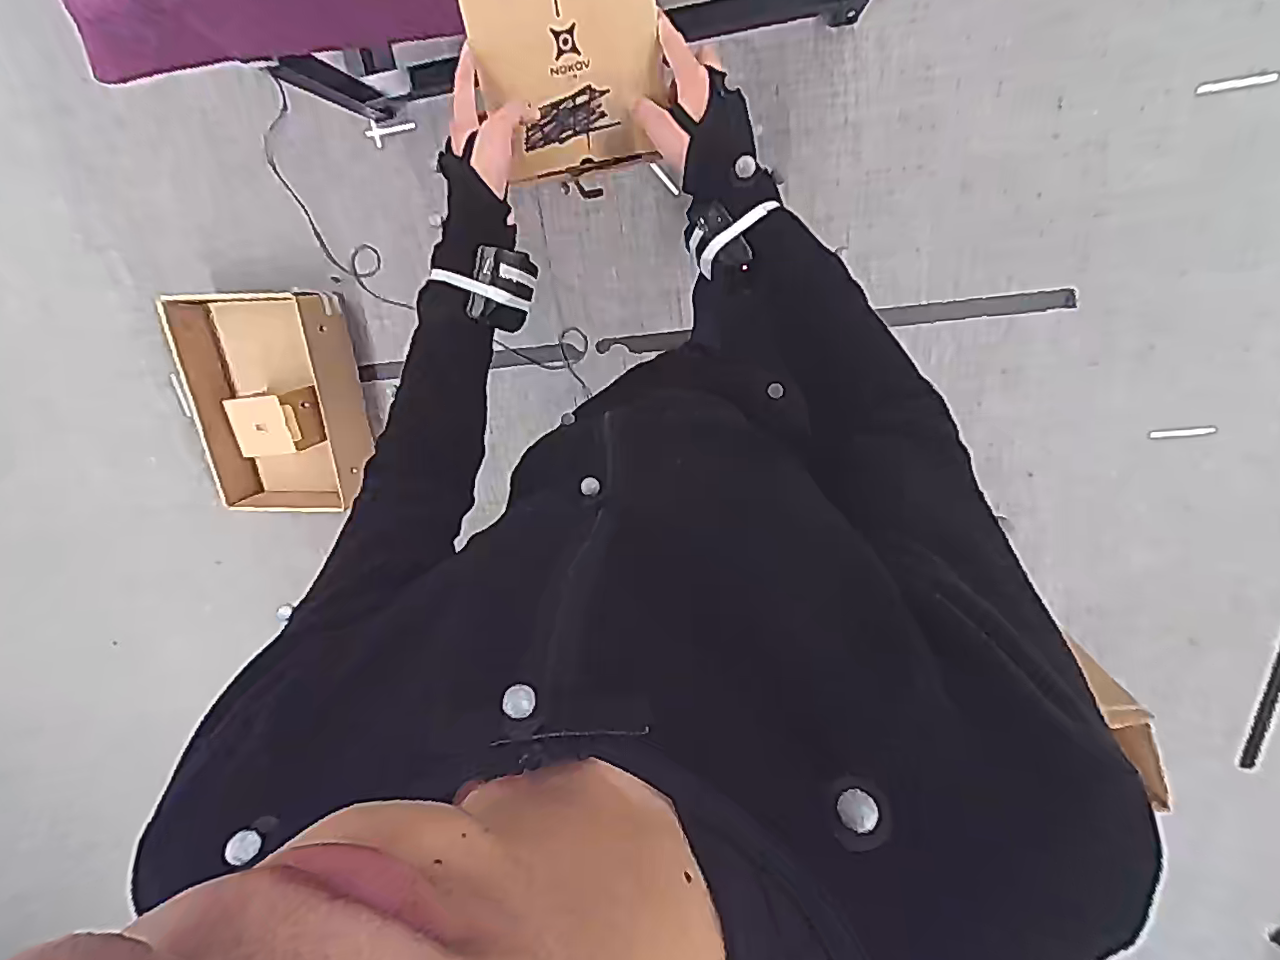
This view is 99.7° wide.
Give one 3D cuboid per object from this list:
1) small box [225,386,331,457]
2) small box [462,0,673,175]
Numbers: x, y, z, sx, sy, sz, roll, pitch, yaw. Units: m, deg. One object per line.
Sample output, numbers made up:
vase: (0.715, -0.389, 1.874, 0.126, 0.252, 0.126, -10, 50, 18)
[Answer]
small box: (-1.033, -0.173, 1.566, 0.179, 0.176, 0.168, -4, 109, 8)
small box: (-0.058, -0.414, 0.536, 0.168, 0.176, 0.179, -8, 117, 7)
